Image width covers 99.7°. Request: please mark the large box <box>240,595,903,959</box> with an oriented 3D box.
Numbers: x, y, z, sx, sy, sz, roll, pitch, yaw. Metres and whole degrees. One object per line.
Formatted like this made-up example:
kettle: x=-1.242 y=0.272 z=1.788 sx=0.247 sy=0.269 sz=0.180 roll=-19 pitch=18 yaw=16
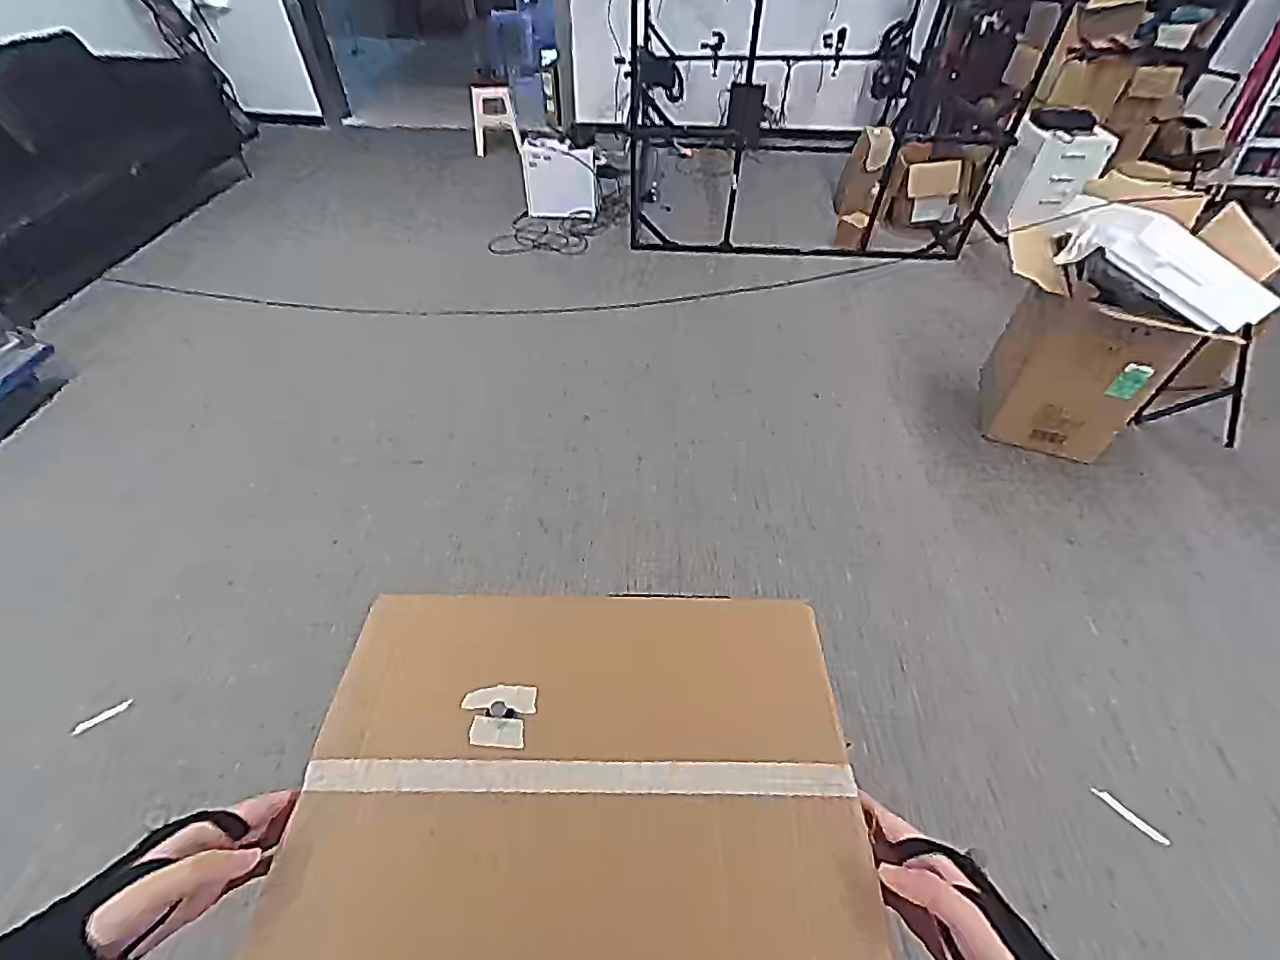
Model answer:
large box: x=-0.038 y=0.318 z=0.495 sx=0.408 sy=0.320 sz=0.320 roll=0 pitch=47 yaw=1
